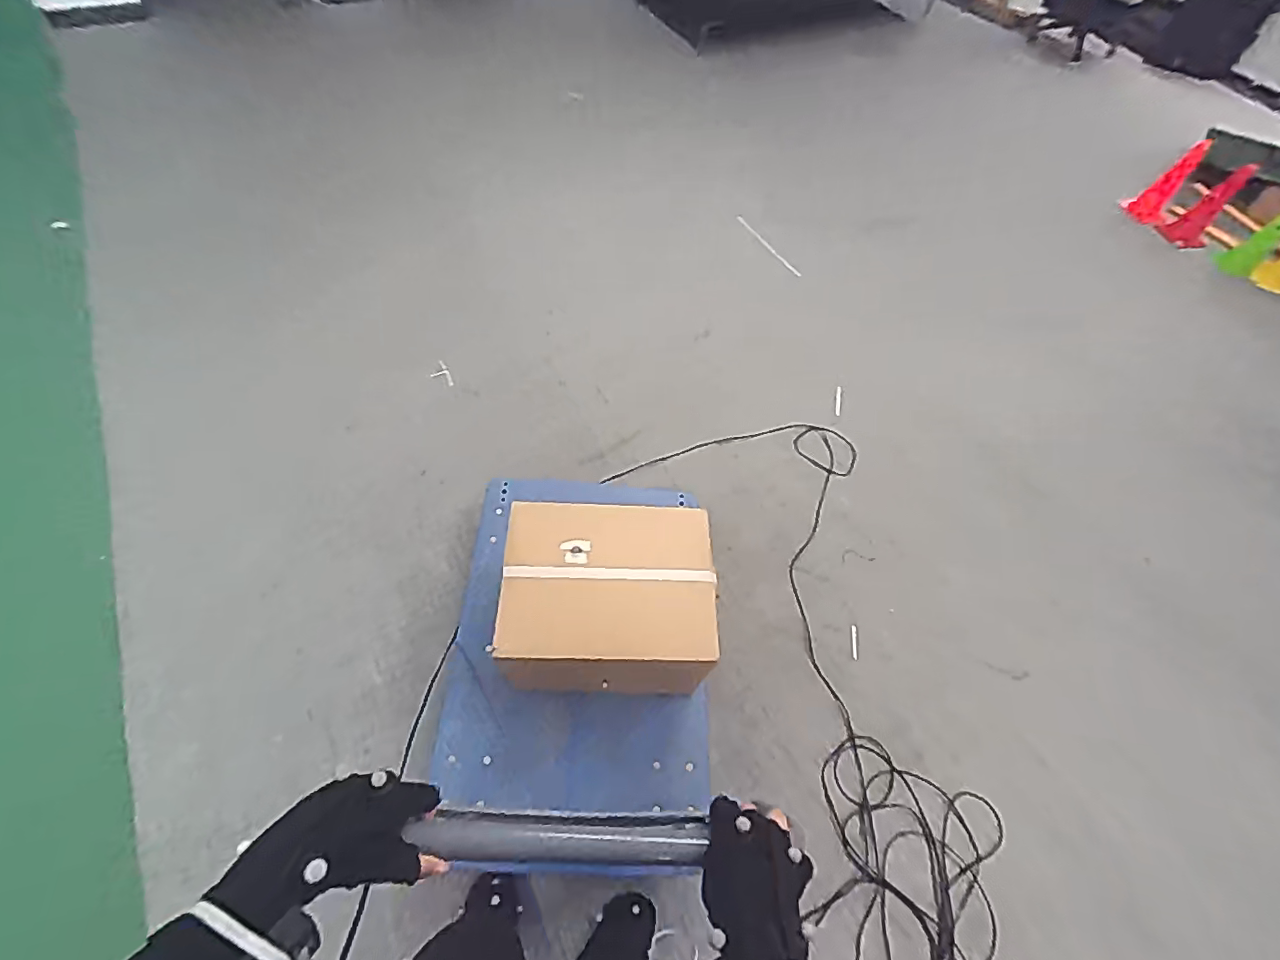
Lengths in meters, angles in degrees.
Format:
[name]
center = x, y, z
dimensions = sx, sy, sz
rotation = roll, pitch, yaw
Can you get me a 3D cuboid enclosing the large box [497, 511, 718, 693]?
[large box]
center = -0.066, 0.274, 1.170
dimensions = 0.408, 0.320, 0.320
rotation = 2, 57, -3
